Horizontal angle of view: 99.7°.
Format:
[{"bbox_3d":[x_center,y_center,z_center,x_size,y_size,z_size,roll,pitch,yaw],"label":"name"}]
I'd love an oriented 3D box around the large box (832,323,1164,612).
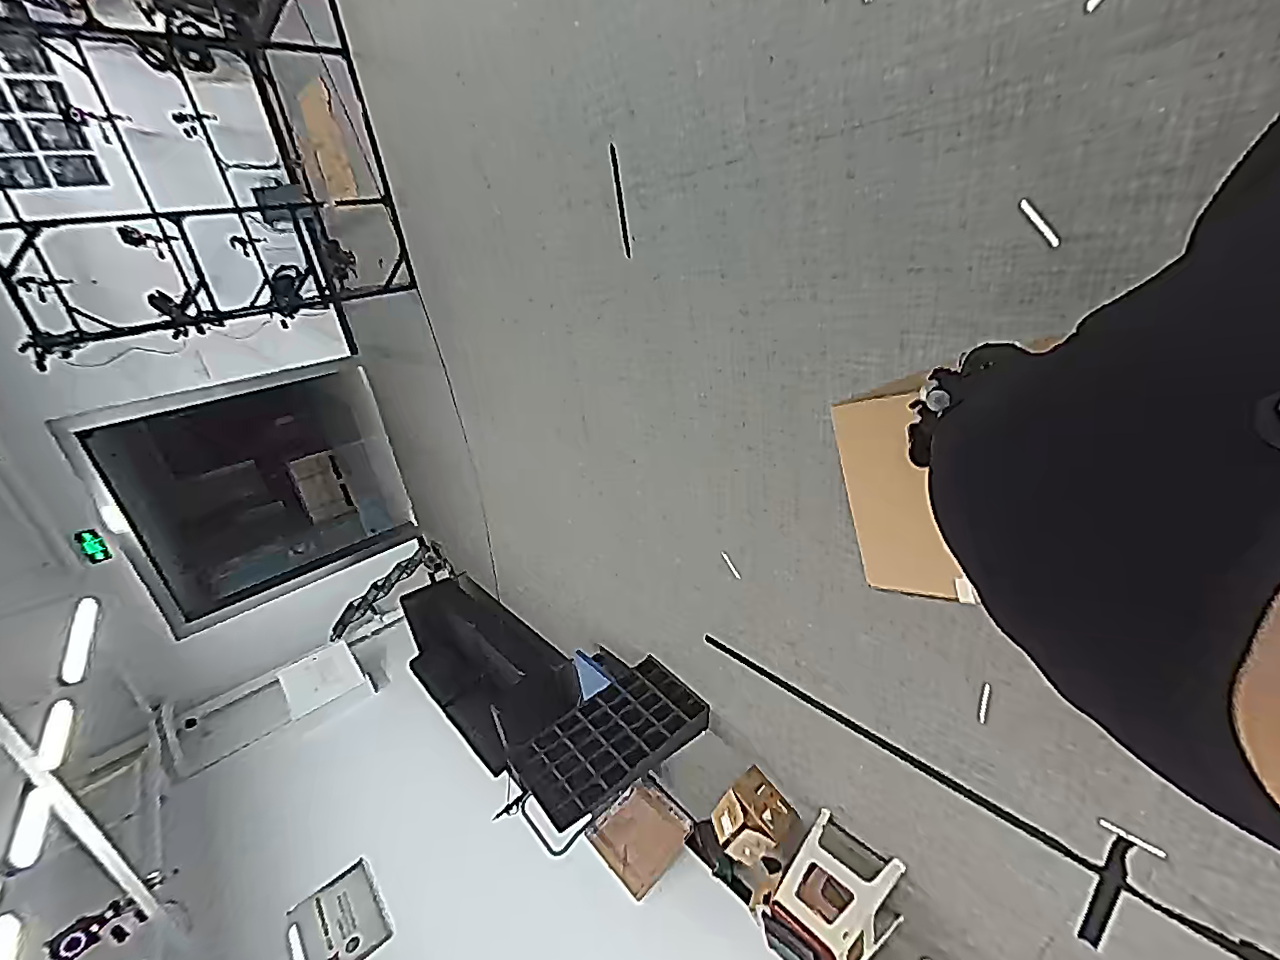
[{"bbox_3d":[0.575,-0.033,0.858,0.320,0.408,0.320,-7,102,54],"label":"large box"}]
